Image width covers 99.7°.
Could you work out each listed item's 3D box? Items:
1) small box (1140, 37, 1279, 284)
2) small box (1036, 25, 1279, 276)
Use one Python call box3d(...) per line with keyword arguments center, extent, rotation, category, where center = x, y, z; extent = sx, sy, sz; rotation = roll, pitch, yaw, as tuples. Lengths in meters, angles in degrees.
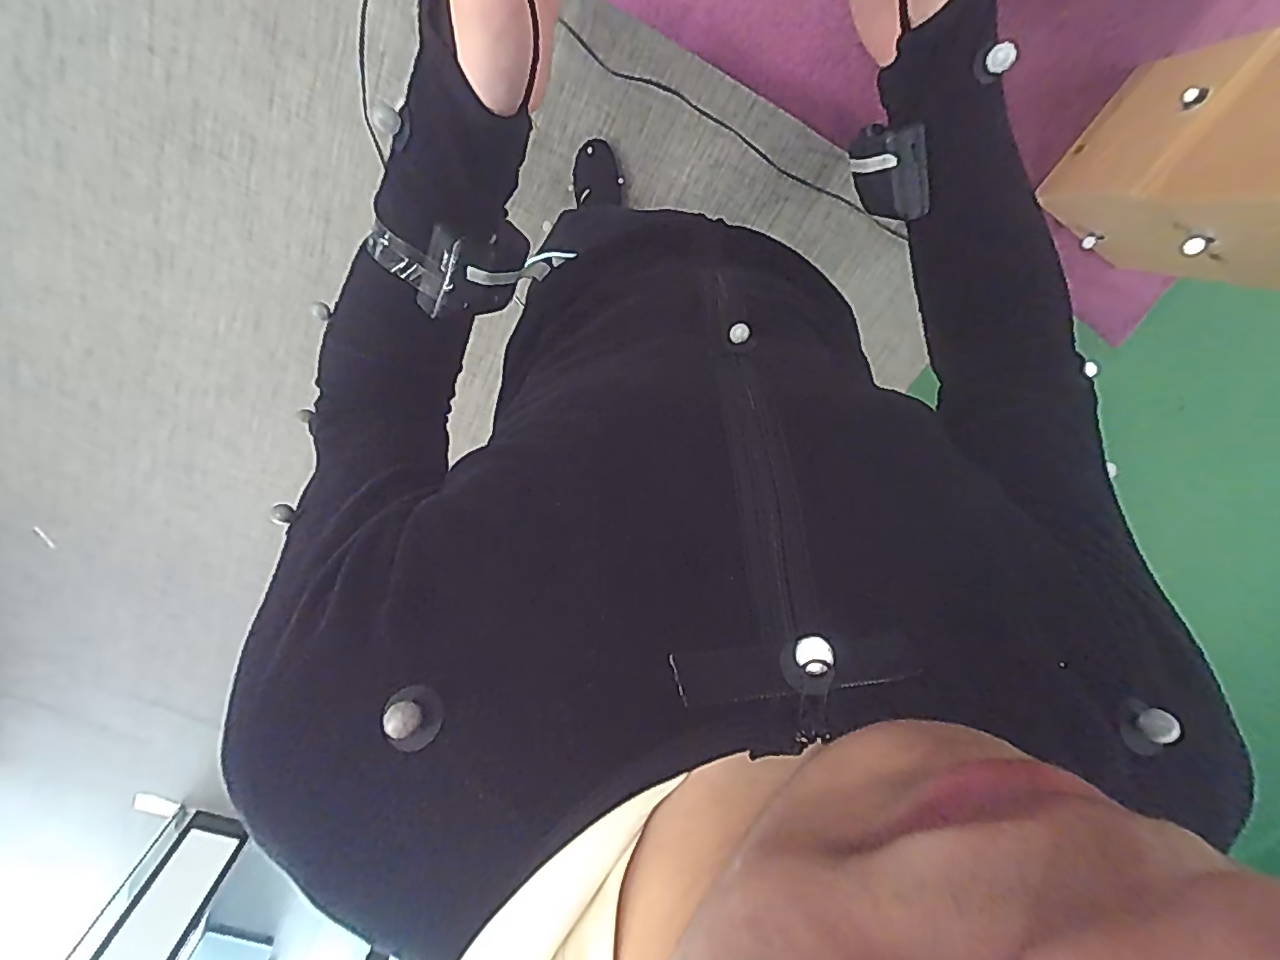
box3d(center=(0.629, -0.293, 0.483), extent=(0.168, 0.176, 0.179), rotation=(29, 115, -12), category="small box")
box3d(center=(0.628, -0.367, 0.629), extent=(0.179, 0.176, 0.168), rotation=(28, 114, -13), category="small box")
